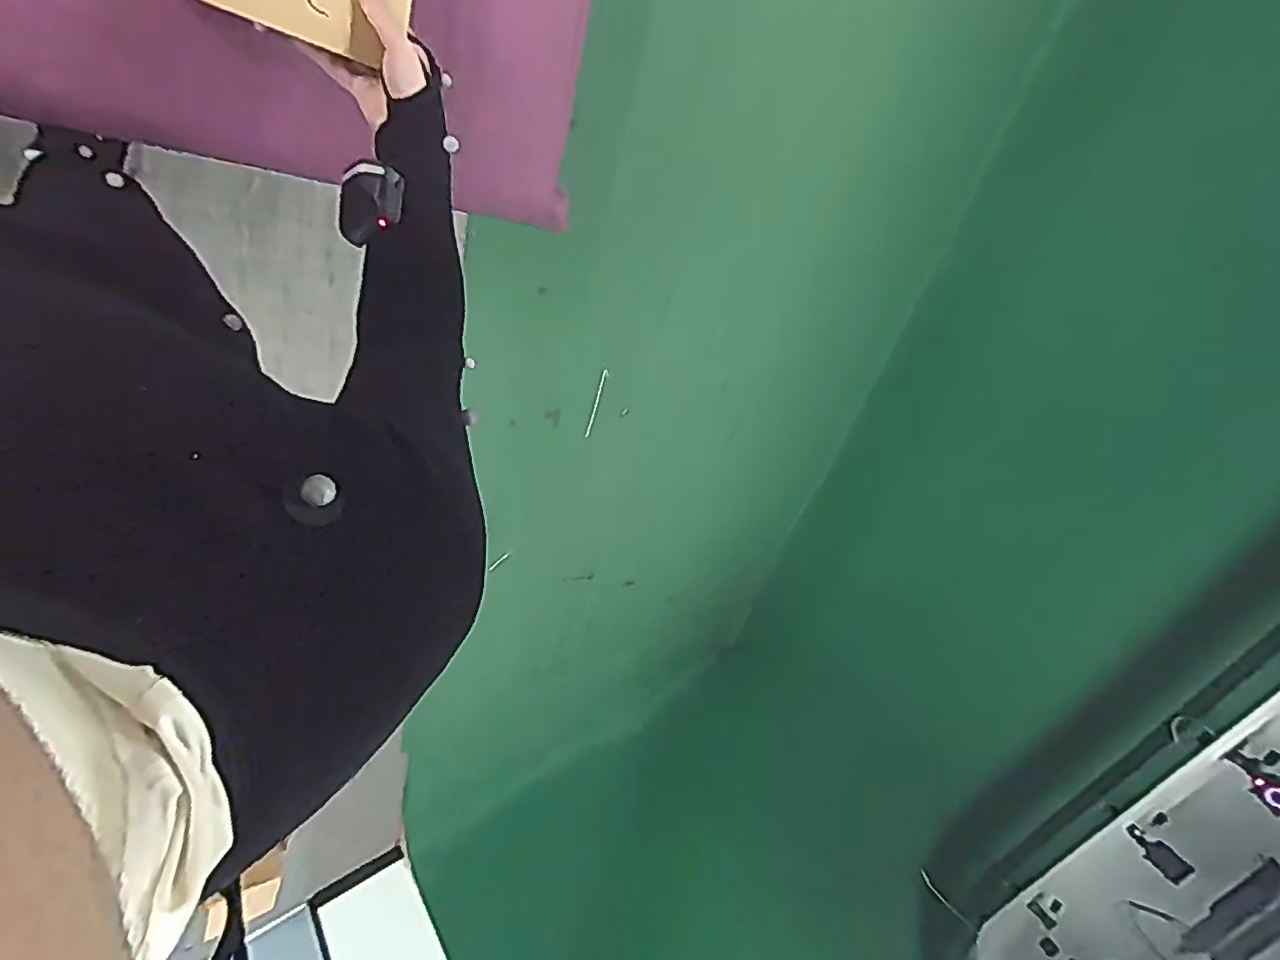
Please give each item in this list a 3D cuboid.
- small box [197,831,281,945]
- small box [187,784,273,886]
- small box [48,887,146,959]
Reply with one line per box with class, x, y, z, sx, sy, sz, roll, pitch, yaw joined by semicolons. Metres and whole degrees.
small box;-1.156;1.162;1.552;0.168;0.176;0.179;0;121;-46
small box;-1.252;1.072;1.650;0.179;0.176;0.168;3;120;-47
small box;-1.350;1.164;1.344;0.168;0.176;0.179;1;123;-46
